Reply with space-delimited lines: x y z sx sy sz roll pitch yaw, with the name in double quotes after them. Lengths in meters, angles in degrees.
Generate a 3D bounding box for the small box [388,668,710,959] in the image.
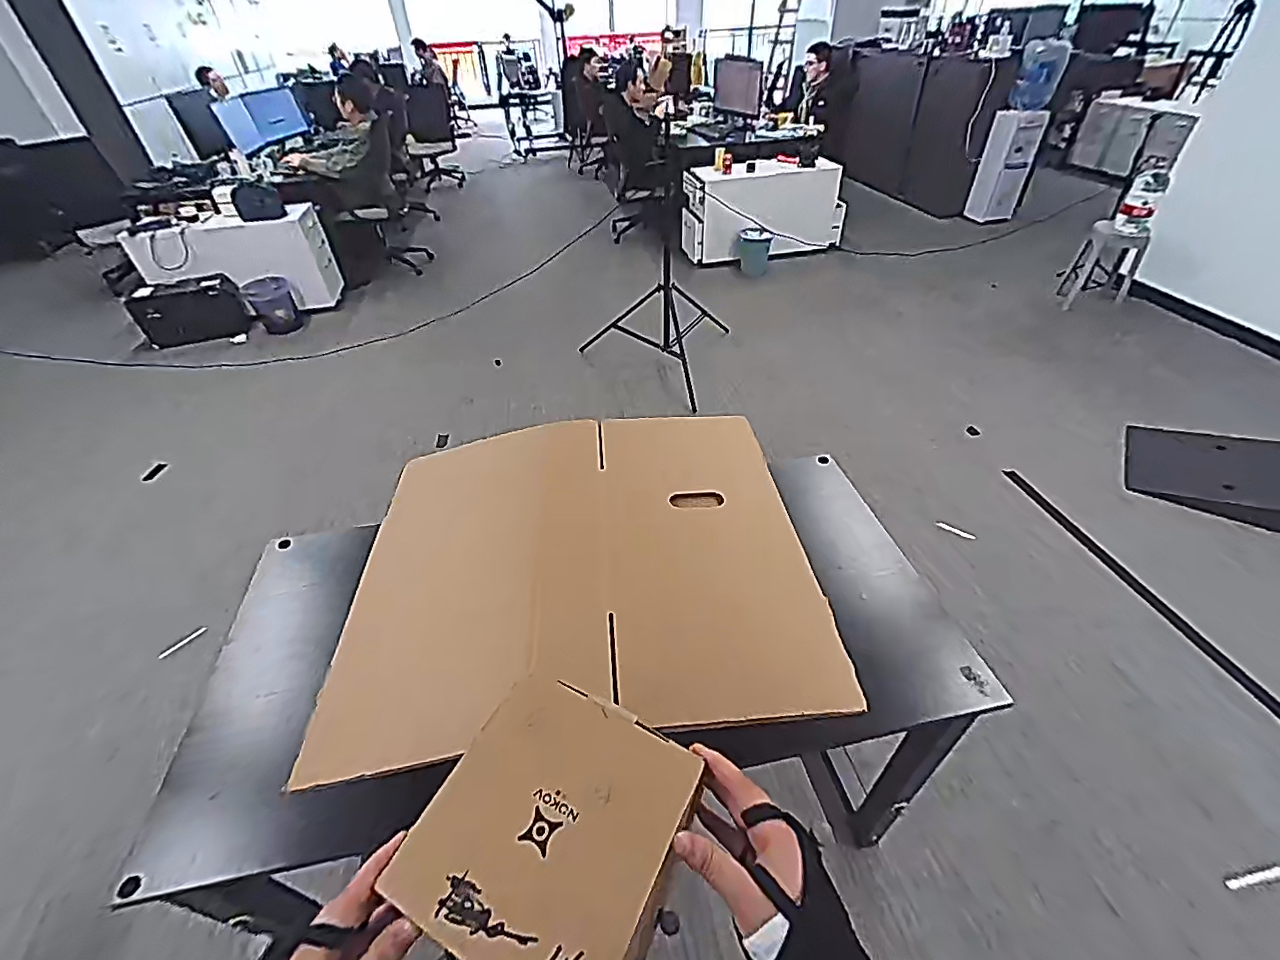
-0.056 0.295 0.436 0.168 0.176 0.179 18 48 22 "small box"
